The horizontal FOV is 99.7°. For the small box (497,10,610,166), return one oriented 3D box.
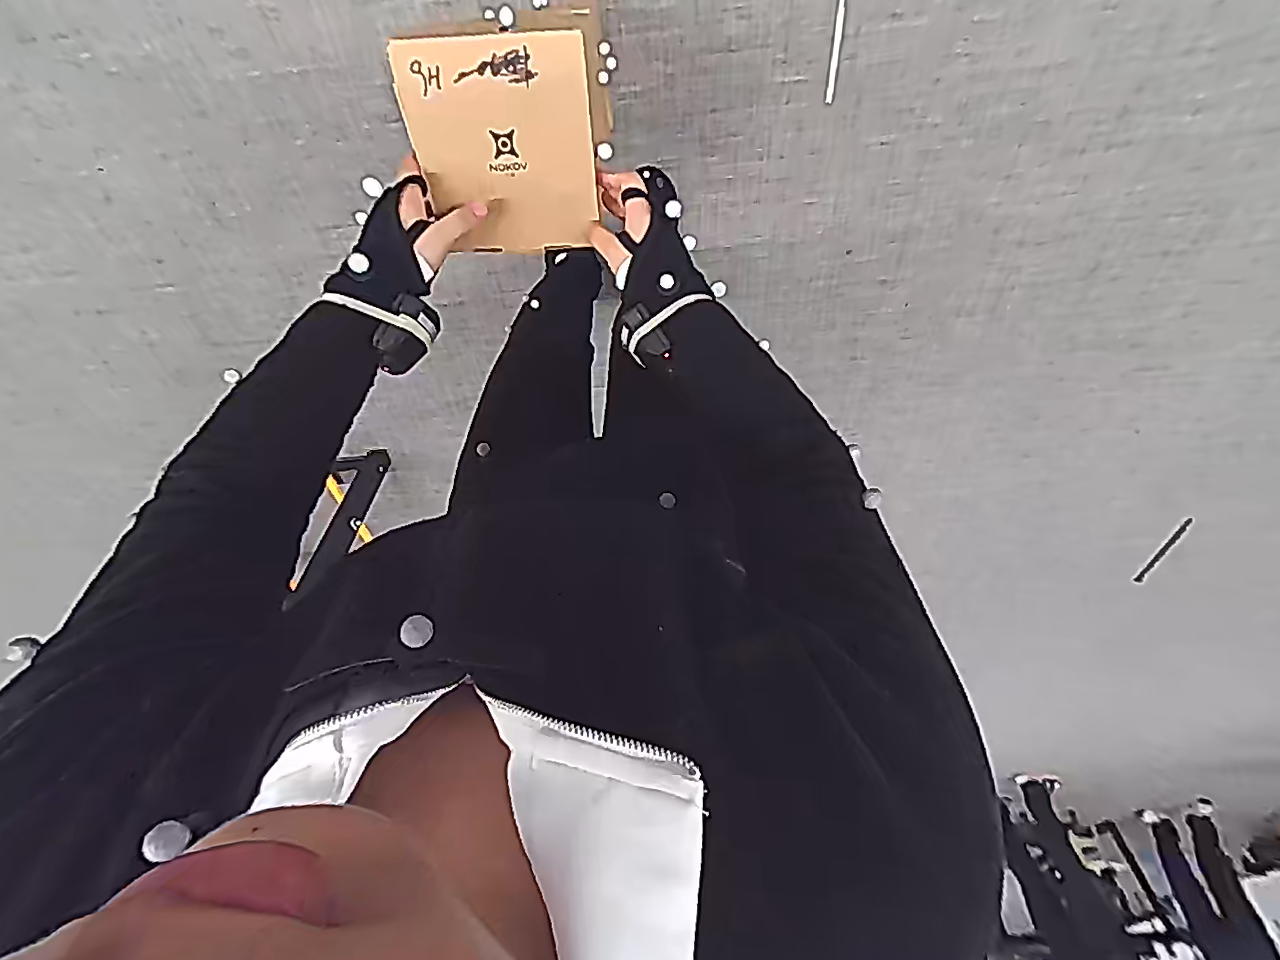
[{"bbox_3d":[-0.135,-0.571,0.794,0.168,0.176,0.179,-4,134,3],"label":"small box"}]

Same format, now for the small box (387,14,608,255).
[{"bbox_3d":[-0.122,-0.351,0.552,0.168,0.176,0.179,-1,134,1],"label":"small box"}]
